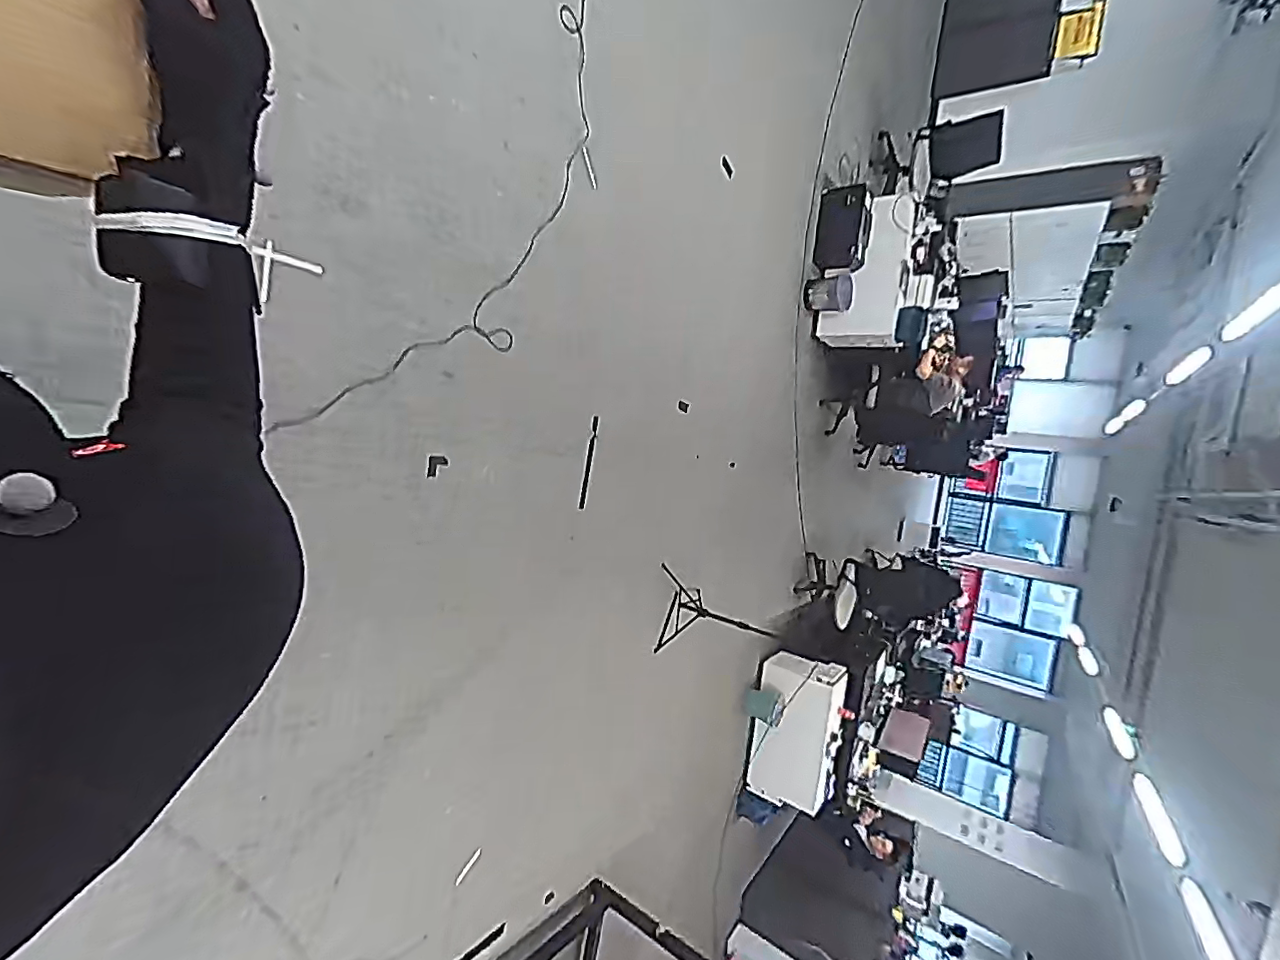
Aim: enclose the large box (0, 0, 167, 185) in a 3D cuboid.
[{"bbox_3d":[-0.554,-0.380,0.273,0.408,0.320,0.320,-10,115,-56],"label":"large box"}]
